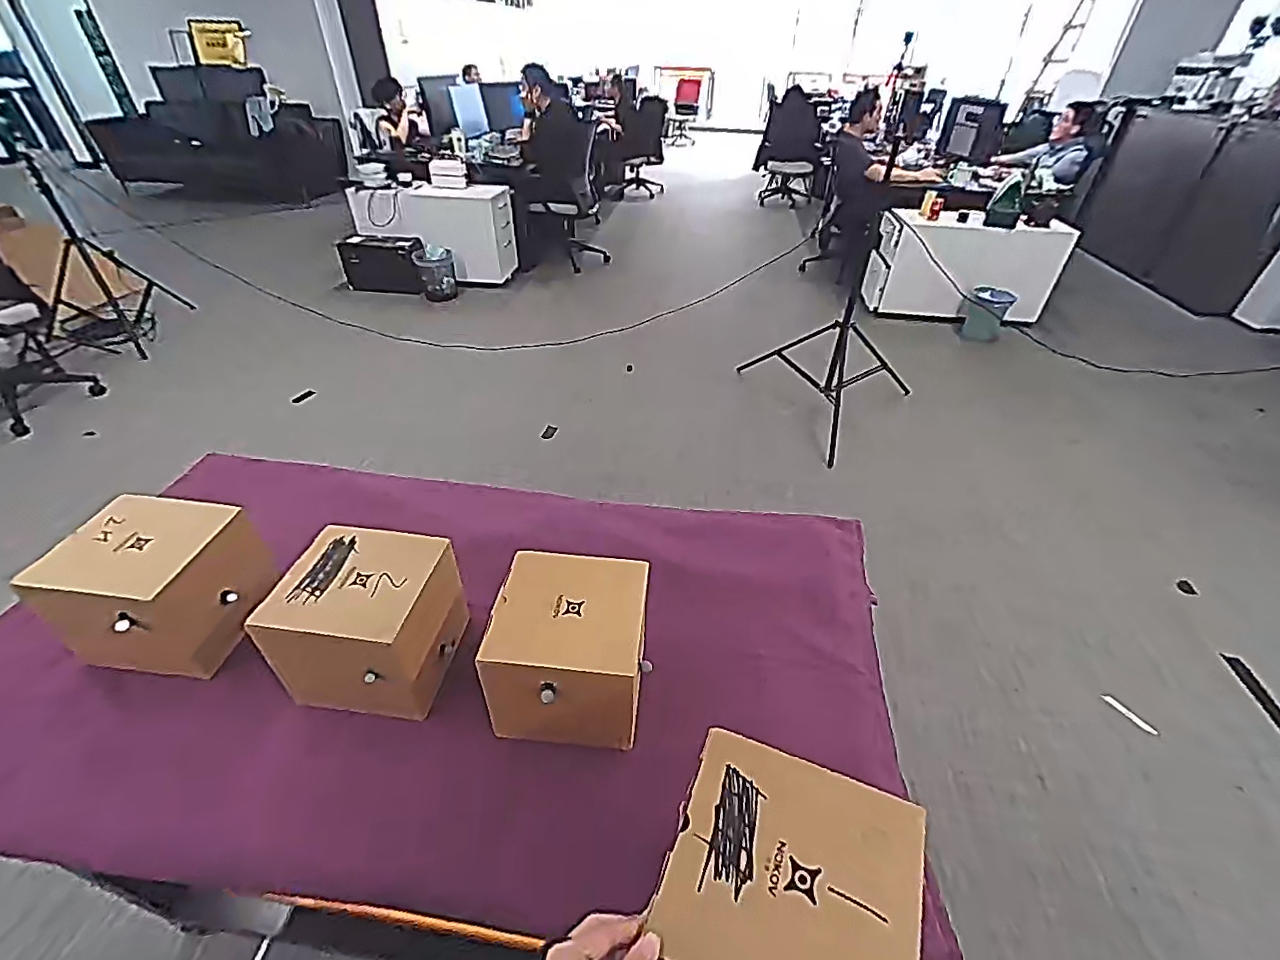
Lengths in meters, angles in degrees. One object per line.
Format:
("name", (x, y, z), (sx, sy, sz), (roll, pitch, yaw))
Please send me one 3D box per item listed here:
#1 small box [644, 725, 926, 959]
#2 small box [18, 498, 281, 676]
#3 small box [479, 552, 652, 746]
("small box", (0.117, 0.346, 0.448), (0.179, 0.176, 0.168), (14, 43, 20))
("small box", (-0.643, 0.148, 0.743), (0.179, 0.176, 0.168), (6, 38, 2))
("small box", (-0.081, 0.215, 0.687), (0.179, 0.176, 0.168), (4, 38, 4))
